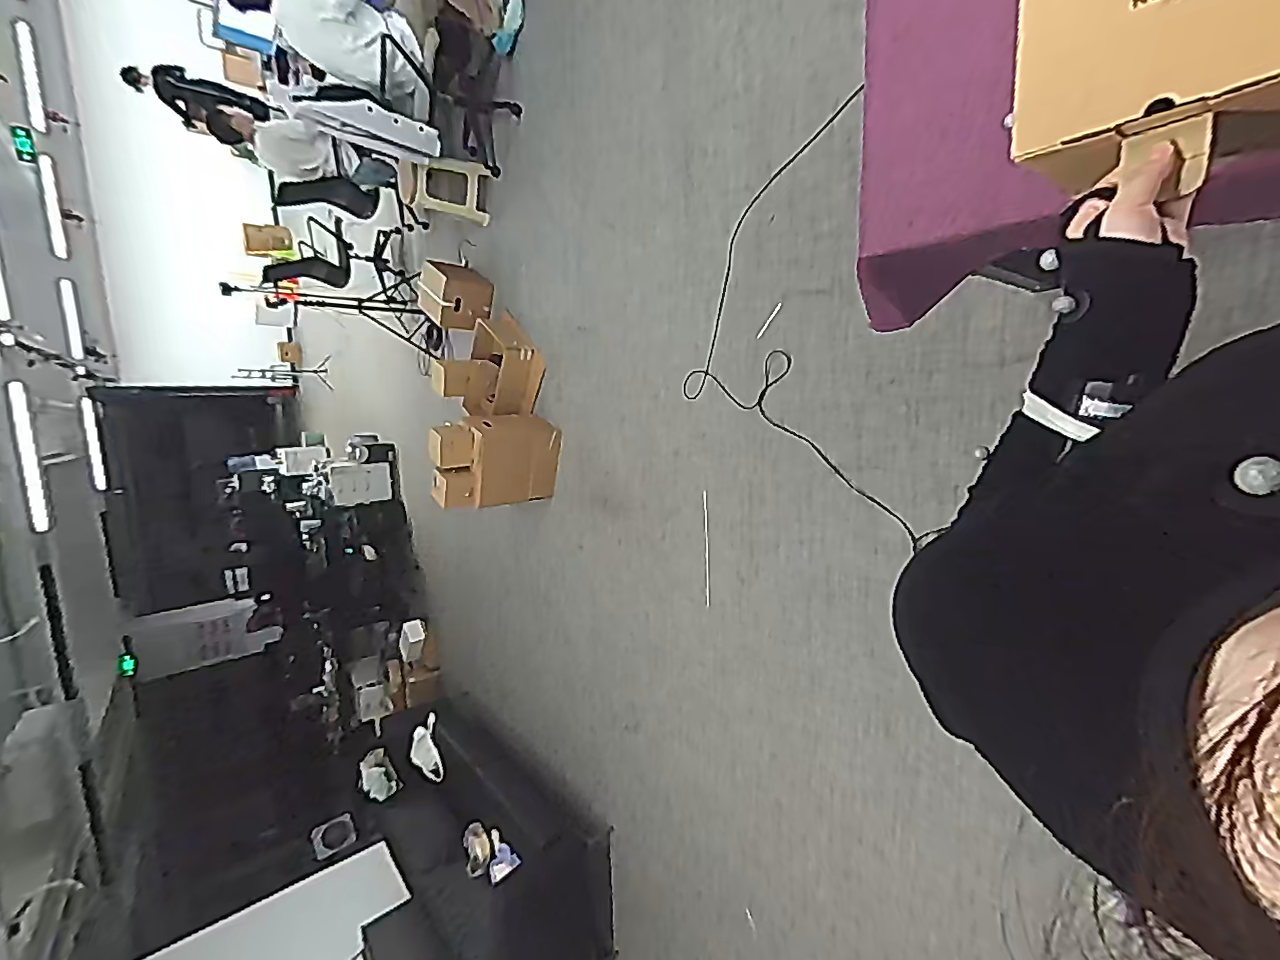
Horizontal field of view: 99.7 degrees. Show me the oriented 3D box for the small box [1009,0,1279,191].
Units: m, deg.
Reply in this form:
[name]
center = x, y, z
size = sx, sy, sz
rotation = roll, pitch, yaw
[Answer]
[small box]
center = 0.400, -0.341, 0.401
size = 0.168, 0.176, 0.179
rotation = 8, 106, 50
